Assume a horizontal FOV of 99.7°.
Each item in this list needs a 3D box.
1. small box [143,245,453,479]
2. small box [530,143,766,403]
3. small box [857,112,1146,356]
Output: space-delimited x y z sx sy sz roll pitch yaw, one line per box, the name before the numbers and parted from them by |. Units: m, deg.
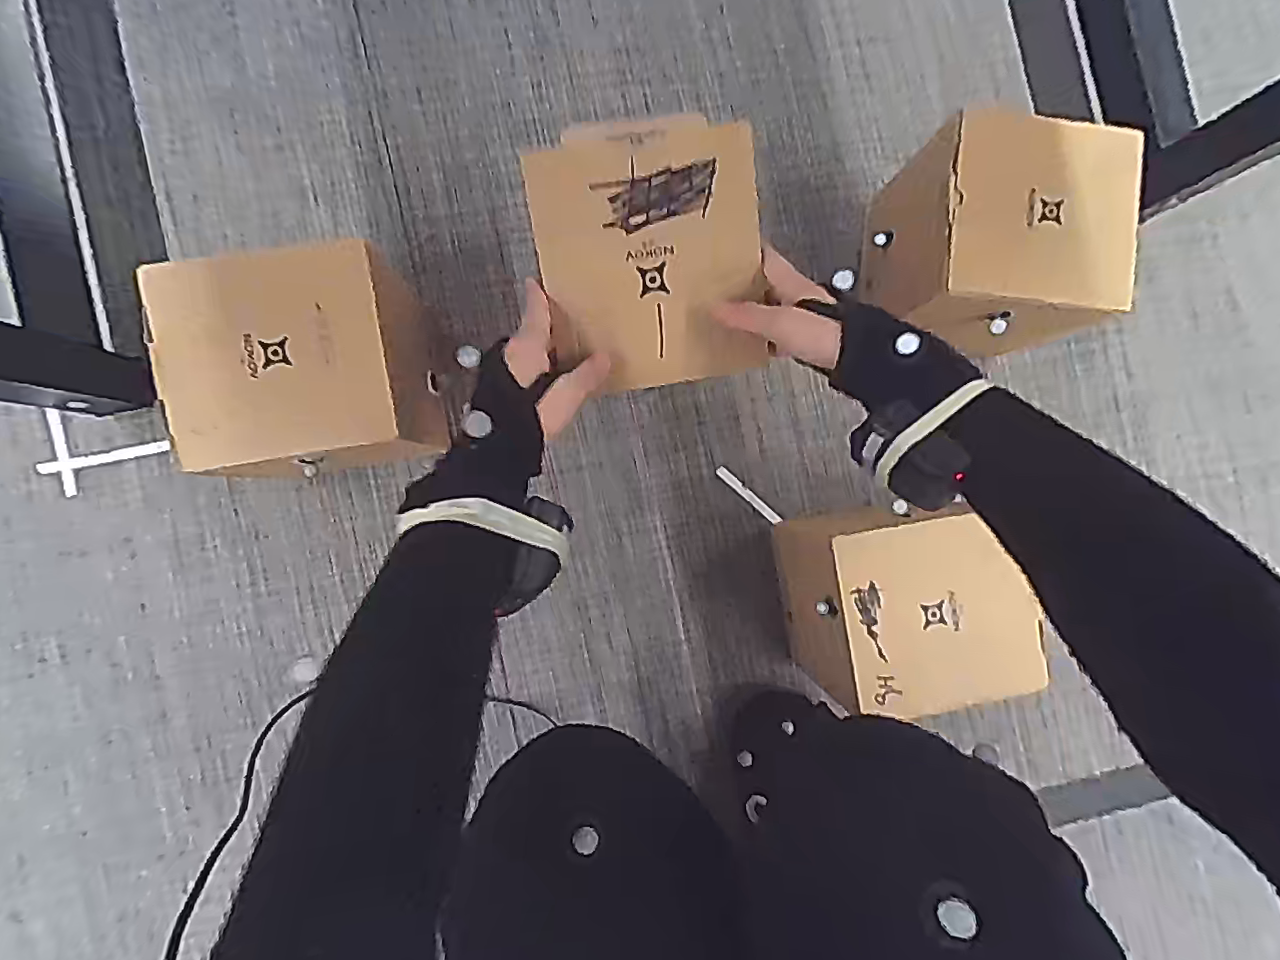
small box | -0.294 -0.094 0.504 0.179 0.176 0.168 -9 91 -5
small box | 0.003 -0.169 0.494 0.168 0.176 0.179 -10 100 -2
small box | 0.351 -0.230 0.554 0.179 0.176 0.168 5 89 -3
